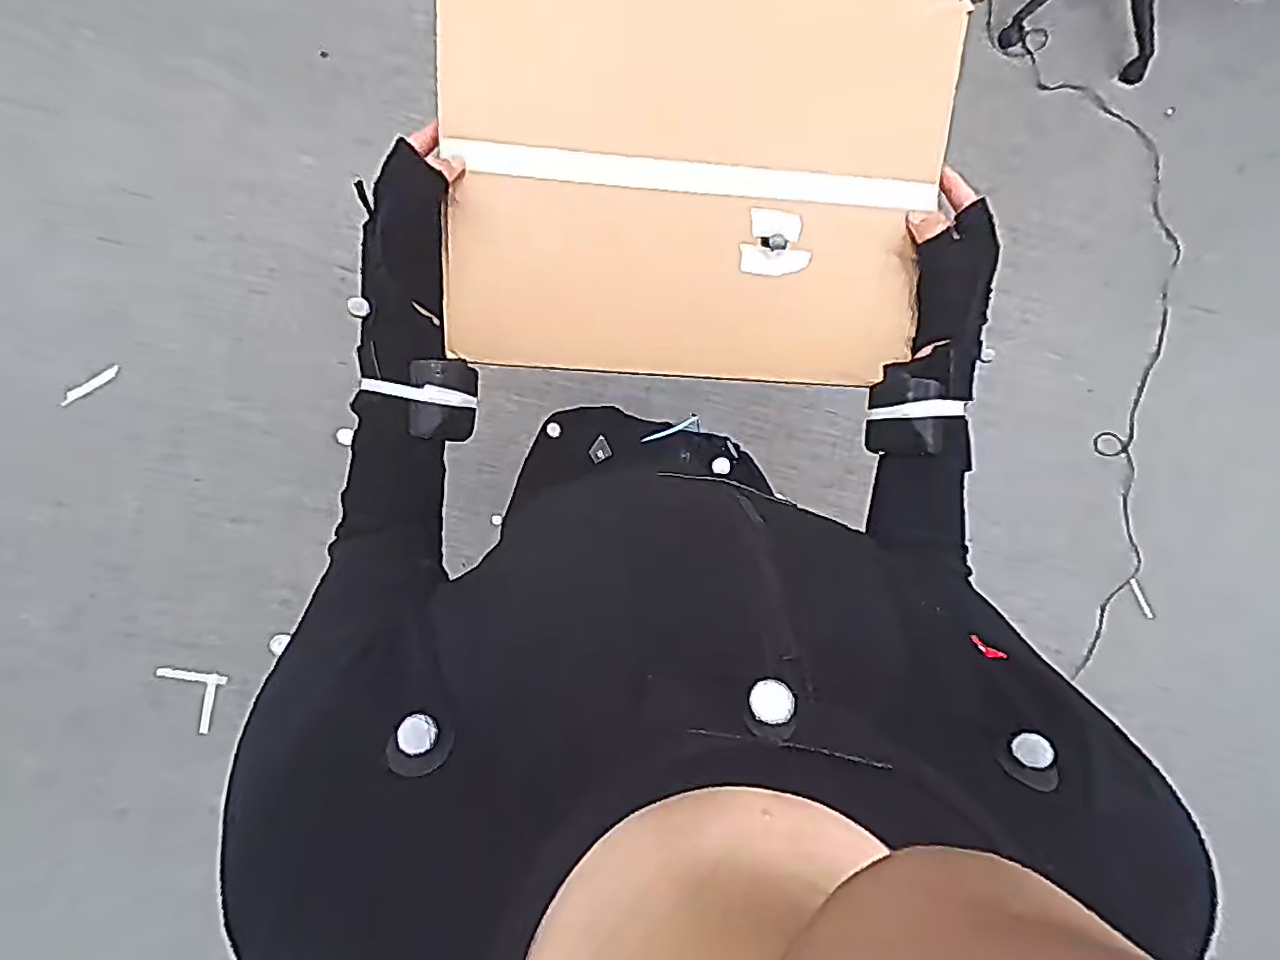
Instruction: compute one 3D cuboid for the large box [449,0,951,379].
[{"bbox_3d":[0.033,-0.283,0.594,0.408,0.320,0.320,2,105,-6],"label":"large box"}]
